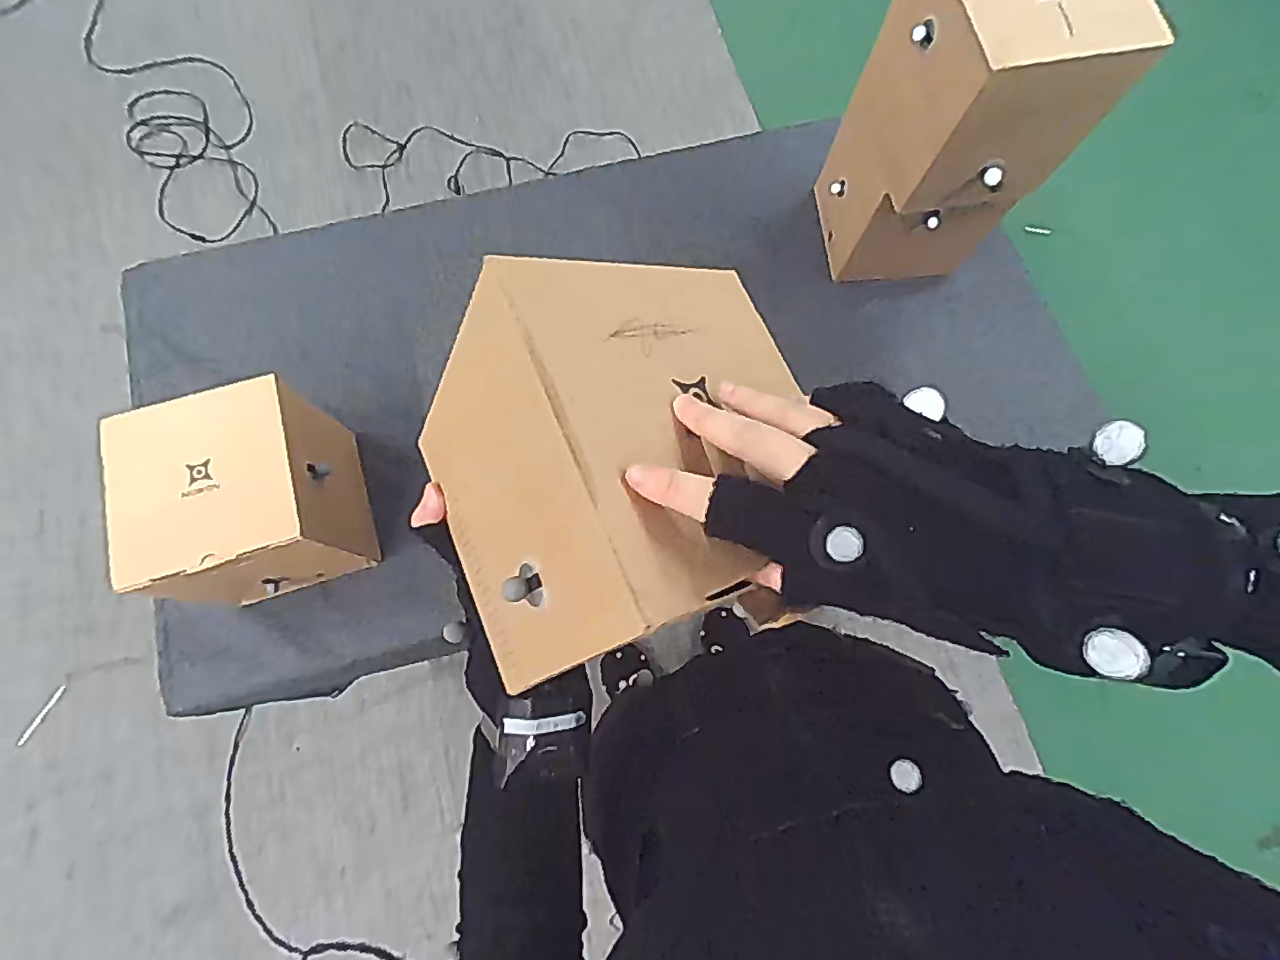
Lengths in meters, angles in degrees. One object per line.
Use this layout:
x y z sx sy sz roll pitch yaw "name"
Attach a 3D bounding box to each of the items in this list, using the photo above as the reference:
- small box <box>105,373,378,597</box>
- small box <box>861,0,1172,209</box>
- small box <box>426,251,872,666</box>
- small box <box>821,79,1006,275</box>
-0.411 0.016 0.582 0.168 0.176 0.179 -17 76 -6 "small box"
0.349 -0.412 0.545 0.168 0.176 0.179 -10 76 -3 "small box"
-0.009 -0.003 0.324 0.168 0.176 0.179 -13 72 -38 "small box"
0.351 -0.388 0.709 0.179 0.176 0.168 -4 75 -2 "small box"
